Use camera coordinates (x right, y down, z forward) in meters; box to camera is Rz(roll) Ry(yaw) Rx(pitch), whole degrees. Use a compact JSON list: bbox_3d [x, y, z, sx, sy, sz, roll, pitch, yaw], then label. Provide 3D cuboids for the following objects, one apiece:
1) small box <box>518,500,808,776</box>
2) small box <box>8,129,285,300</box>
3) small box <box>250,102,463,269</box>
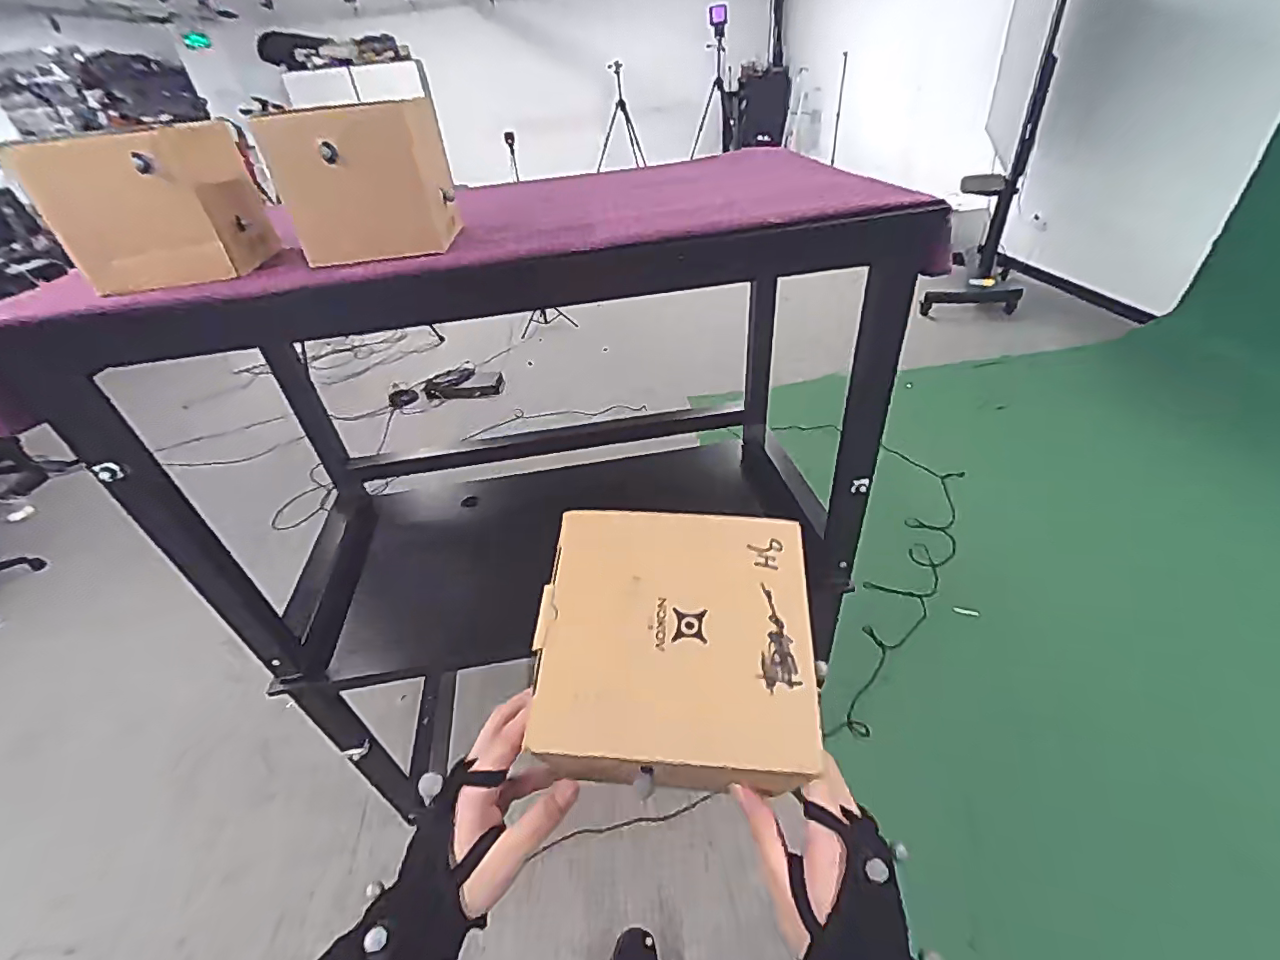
[{"bbox_3d":[0.024,0.130,0.427,0.179,0.176,0.168,2,57,6],"label":"small box"},{"bbox_3d":[-0.616,-0.347,0.708,0.179,0.176,0.168,-11,37,-6],"label":"small box"},{"bbox_3d":[-0.358,-0.393,0.724,0.179,0.176,0.168,-8,37,-1],"label":"small box"}]
